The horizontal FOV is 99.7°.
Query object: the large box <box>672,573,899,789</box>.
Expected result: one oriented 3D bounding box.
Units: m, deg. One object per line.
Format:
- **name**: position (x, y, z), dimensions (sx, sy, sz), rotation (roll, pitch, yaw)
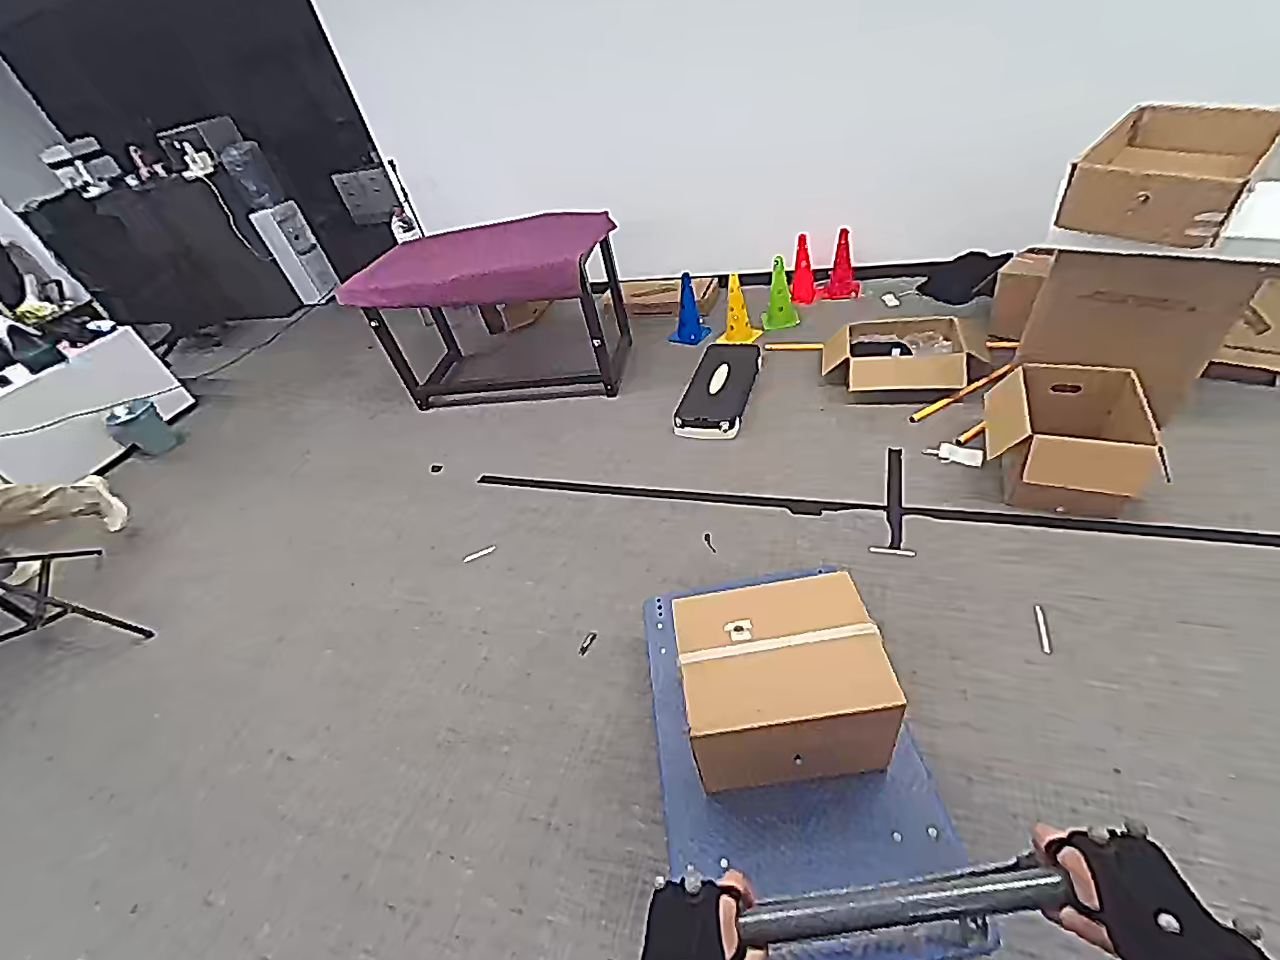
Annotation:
- **large box**: position (0.308, 0.456, 1.223), dimensions (0.408, 0.320, 0.320), rotation (-11, 40, 4)
